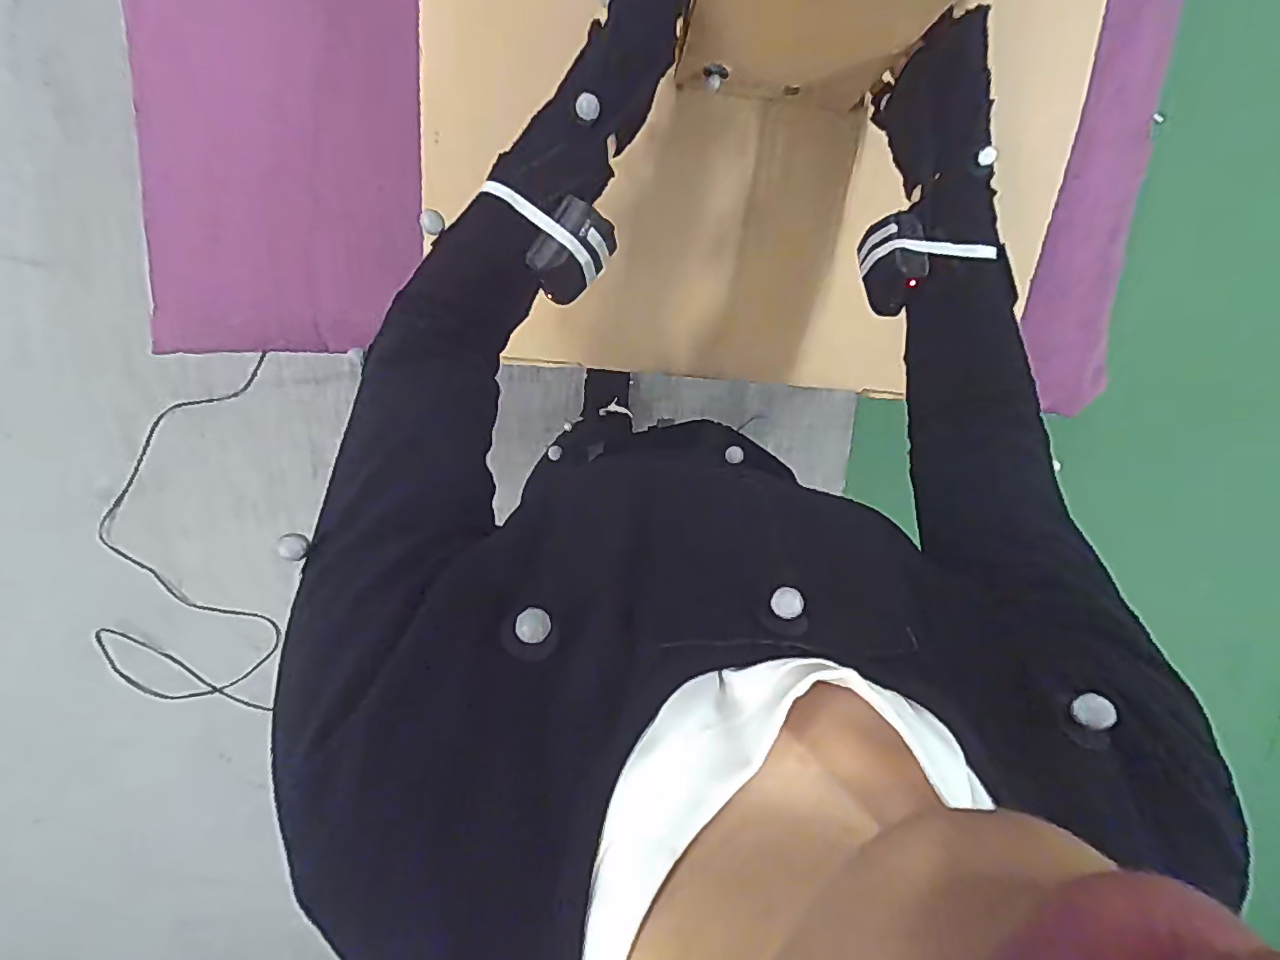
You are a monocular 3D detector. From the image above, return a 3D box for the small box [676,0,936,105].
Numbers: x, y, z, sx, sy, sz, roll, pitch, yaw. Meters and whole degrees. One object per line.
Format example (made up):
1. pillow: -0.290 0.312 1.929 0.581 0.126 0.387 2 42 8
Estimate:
1. small box: 0.123 -0.411 0.392 0.168 0.176 0.179 5 100 -6
